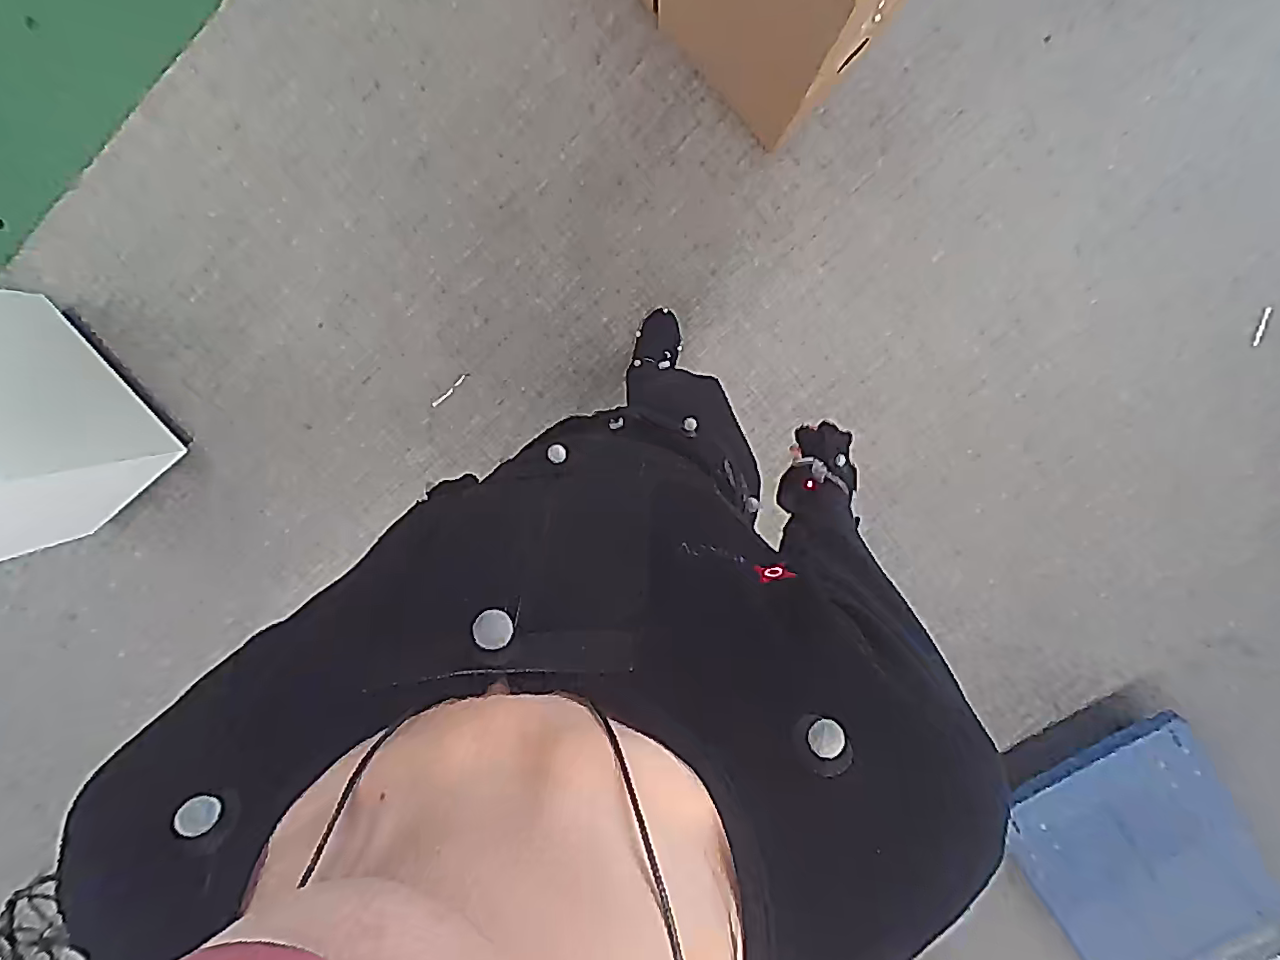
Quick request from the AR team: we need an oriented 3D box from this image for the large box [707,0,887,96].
[{"bbox_3d":[0.256,-0.929,0.836,0.408,0.320,0.320,43,101,-6],"label":"large box"}]
